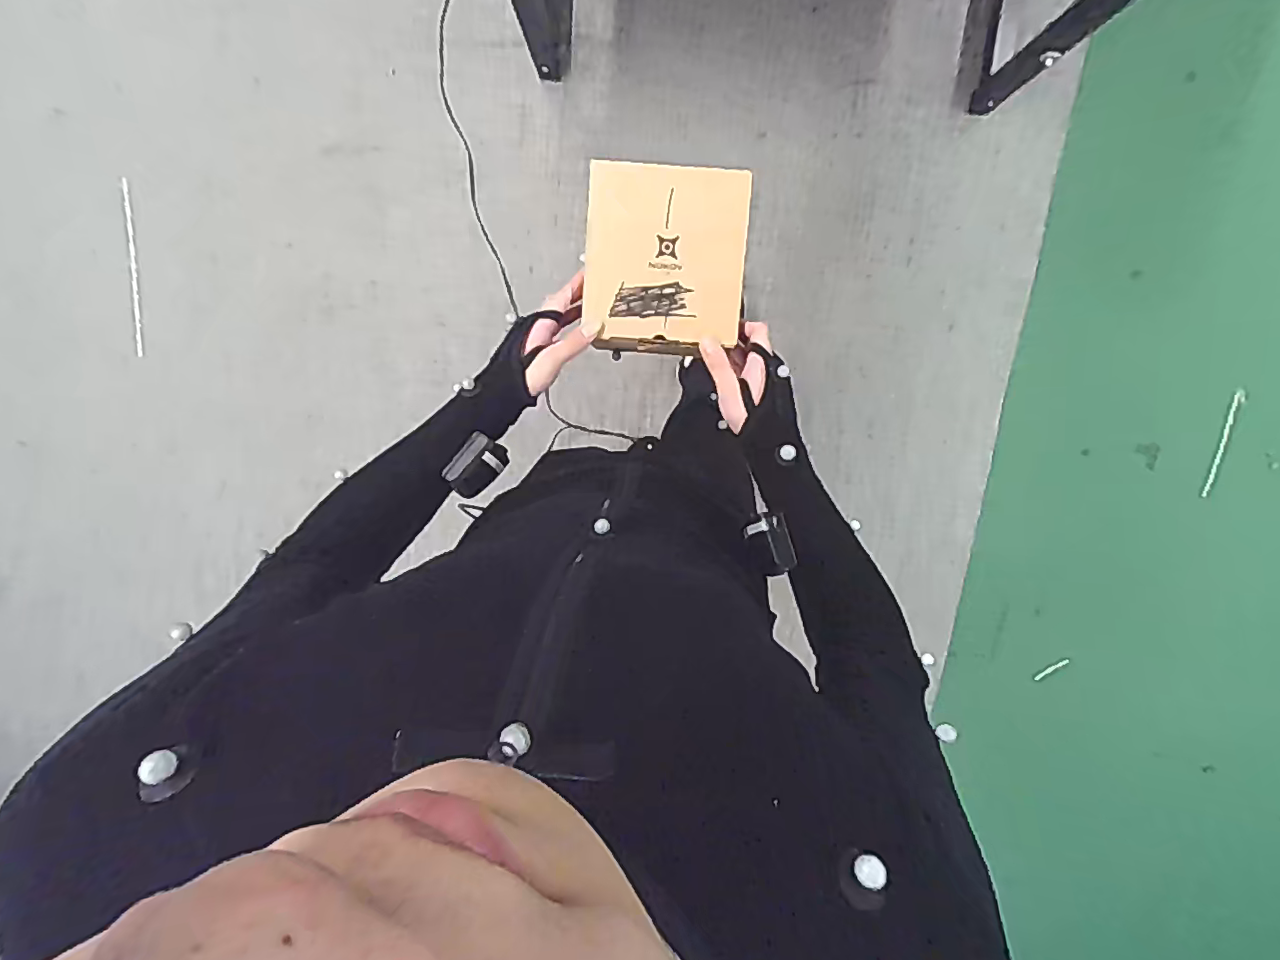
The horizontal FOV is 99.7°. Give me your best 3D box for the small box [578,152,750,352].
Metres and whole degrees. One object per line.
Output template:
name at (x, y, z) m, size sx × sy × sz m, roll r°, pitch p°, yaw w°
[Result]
small box at (0.023, -0.246, 0.626) m, size 0.168 × 0.176 × 0.179 m, roll 4°, pitch 98°, yaw -1°
